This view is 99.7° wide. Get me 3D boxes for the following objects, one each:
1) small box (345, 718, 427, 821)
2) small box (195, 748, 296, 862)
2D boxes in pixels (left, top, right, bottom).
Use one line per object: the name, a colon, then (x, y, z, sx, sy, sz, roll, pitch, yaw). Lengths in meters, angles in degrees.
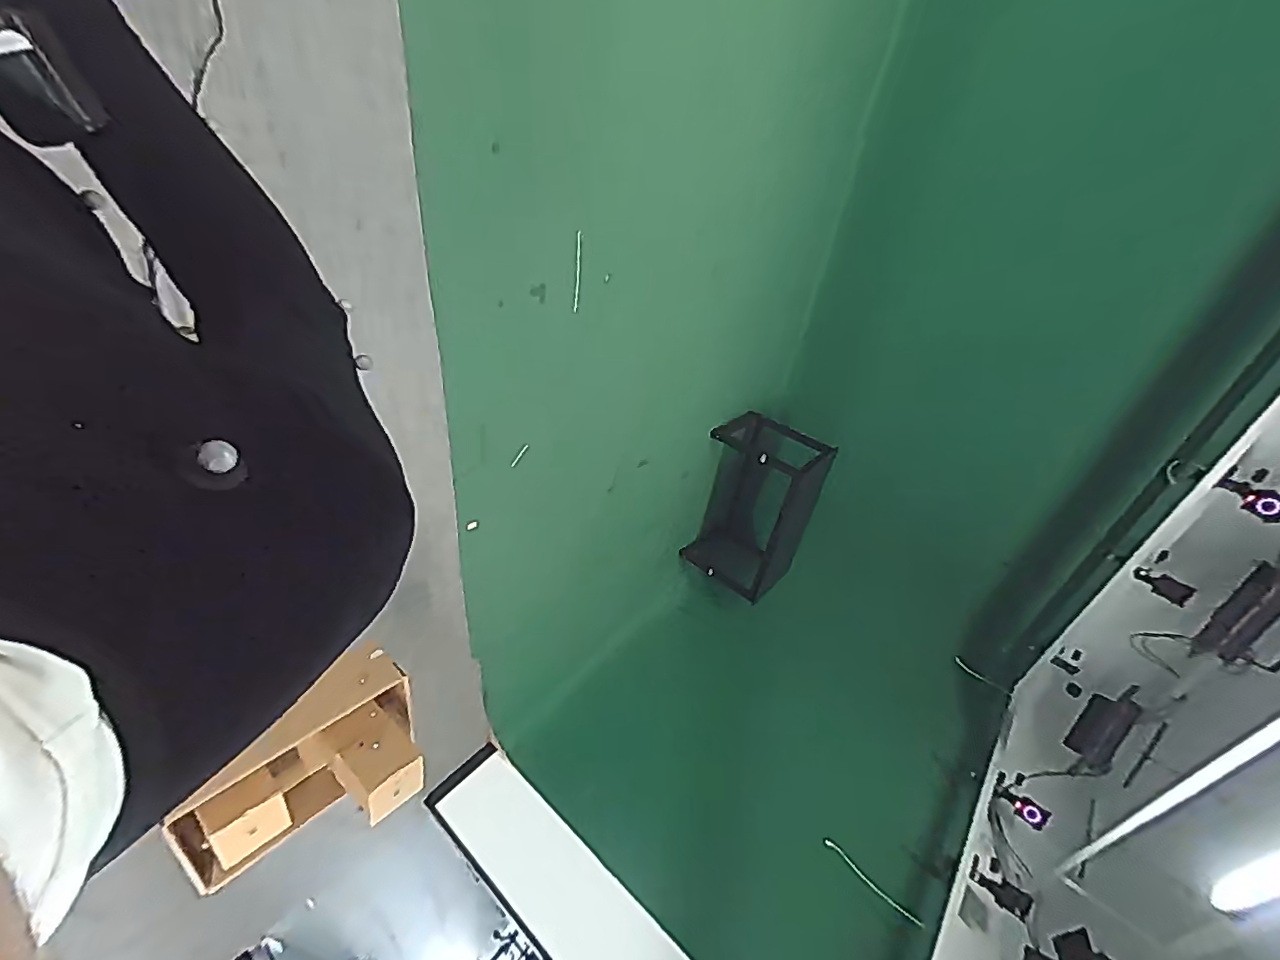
small box: (-0.758, 0.857, 1.617, 0.168, 0.176, 0.179, -25, 137, -46)
small box: (-1.082, 0.885, 1.488, 0.168, 0.176, 0.179, -26, 136, -44)
